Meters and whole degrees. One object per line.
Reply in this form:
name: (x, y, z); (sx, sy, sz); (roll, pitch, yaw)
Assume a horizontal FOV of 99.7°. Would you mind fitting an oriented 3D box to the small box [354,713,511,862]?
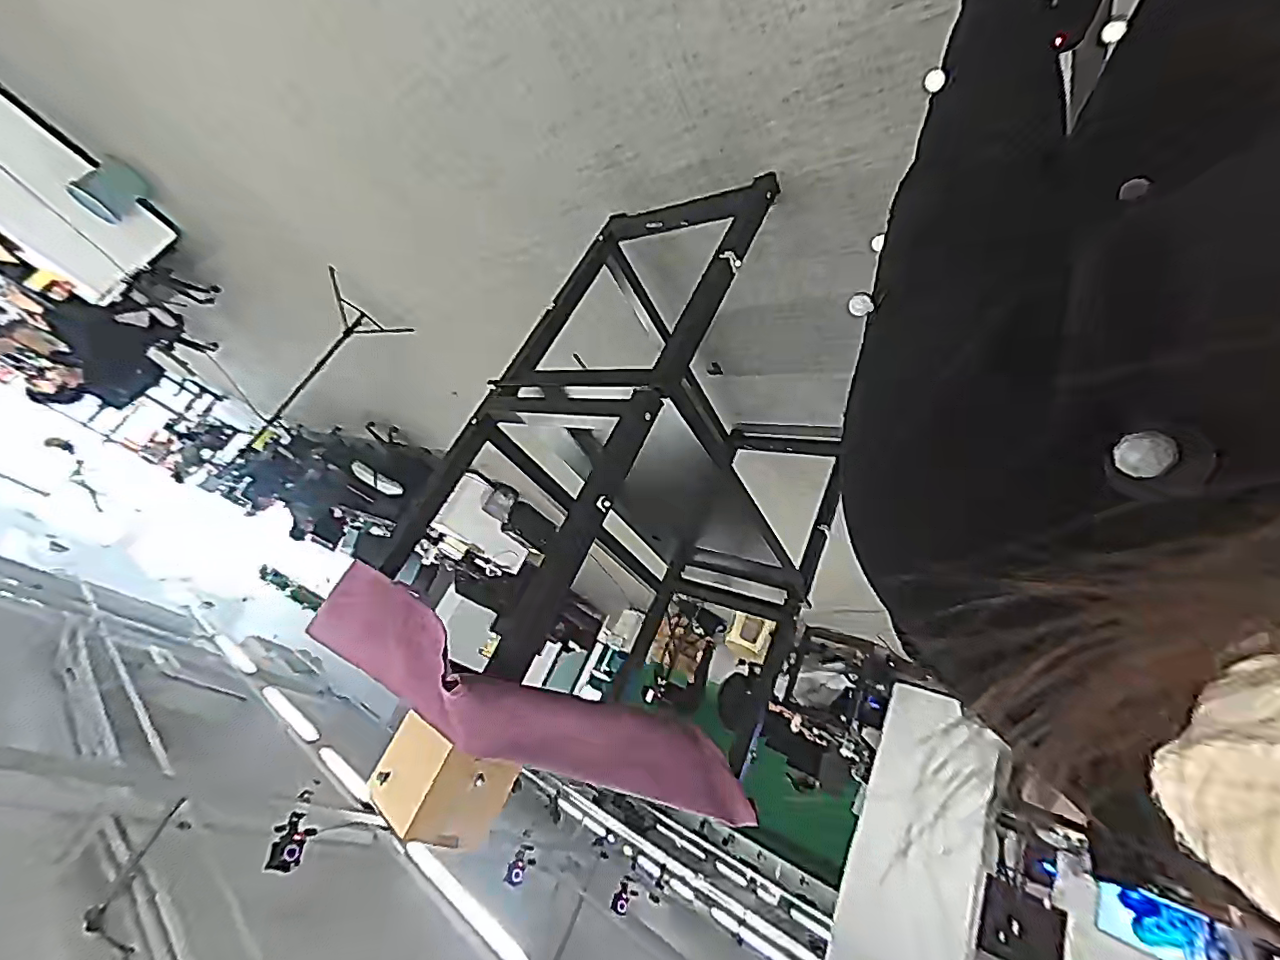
small box: (-0.363, 0.538, 0.966); (0.179, 0.176, 0.168); (4, 150, 45)
